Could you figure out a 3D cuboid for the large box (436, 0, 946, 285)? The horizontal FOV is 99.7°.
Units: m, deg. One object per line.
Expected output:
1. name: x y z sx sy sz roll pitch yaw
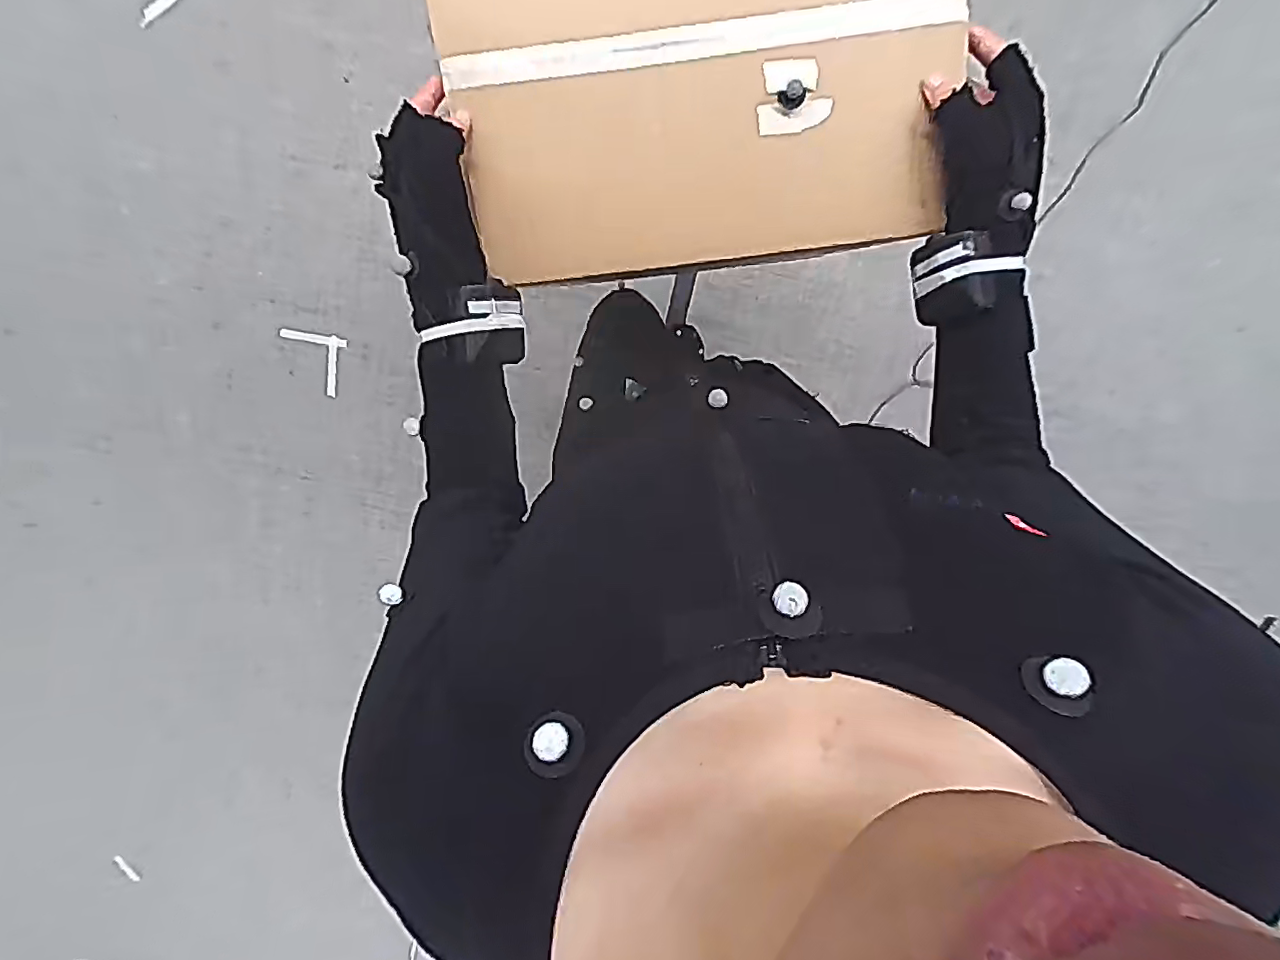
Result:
1. large box: 0.039 -0.396 0.569 0.408 0.320 0.320 -7 109 1
